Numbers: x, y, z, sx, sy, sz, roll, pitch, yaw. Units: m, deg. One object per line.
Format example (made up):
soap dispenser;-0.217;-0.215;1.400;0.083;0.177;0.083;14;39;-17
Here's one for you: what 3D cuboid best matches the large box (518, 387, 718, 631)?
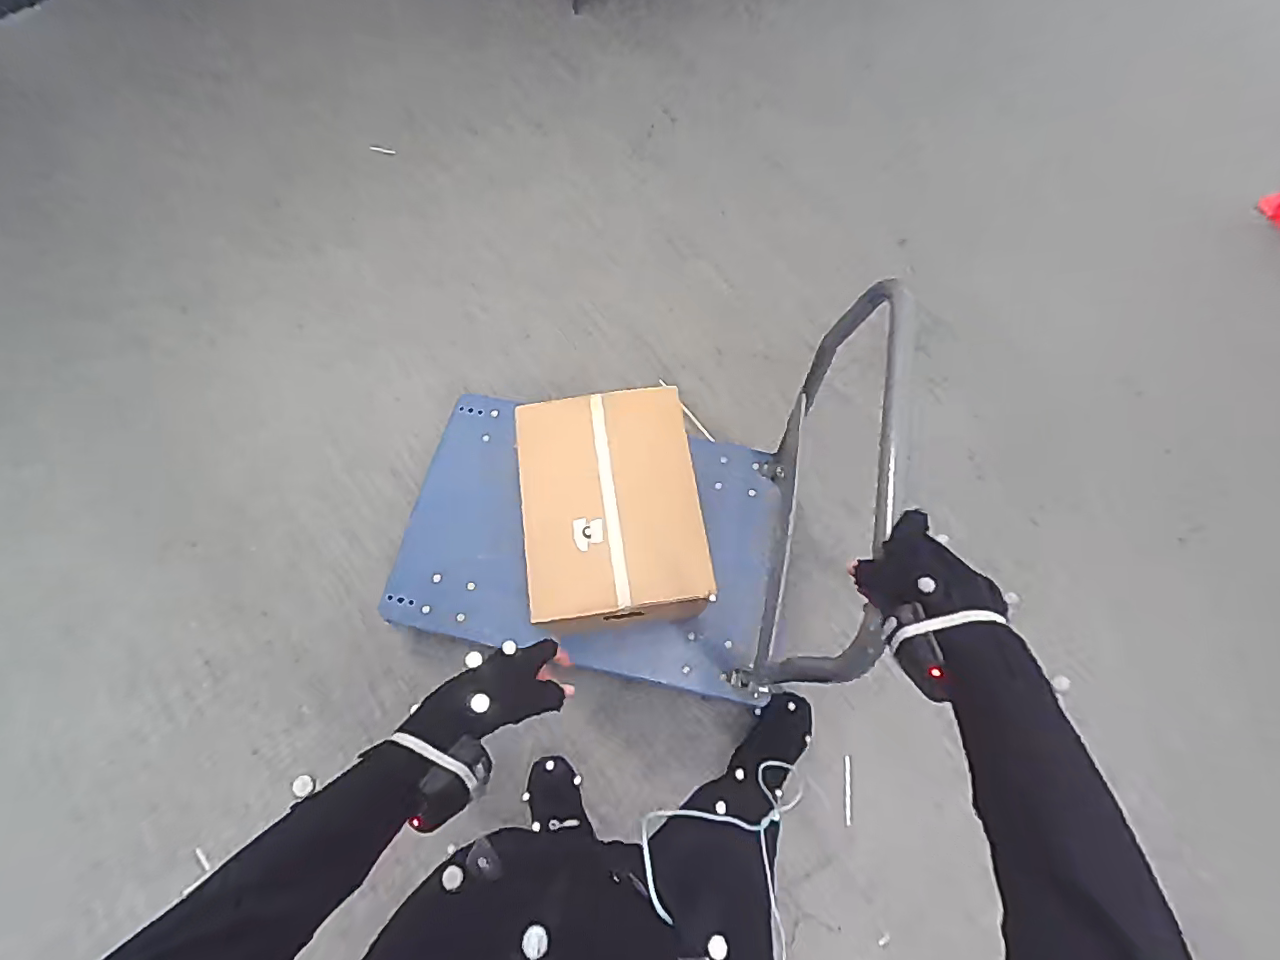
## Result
large box;-0.052;0.074;1.104;0.320;0.320;0.408;-8;71;-3
